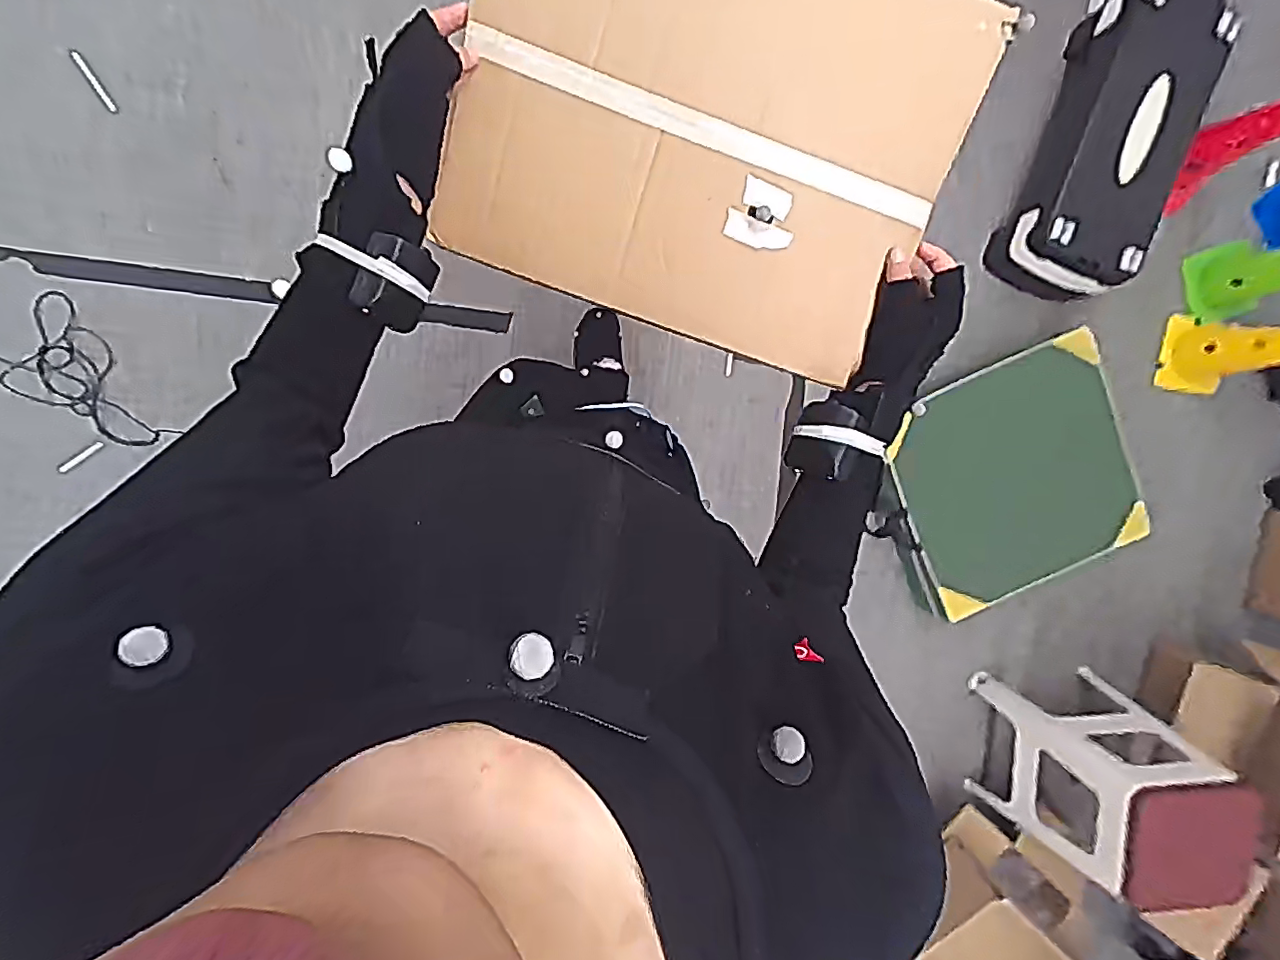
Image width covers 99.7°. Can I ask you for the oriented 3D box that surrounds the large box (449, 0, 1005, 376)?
[{"bbox_3d":[0.059,-0.337,0.600,0.408,0.320,0.320,18,107,-7],"label":"large box"}]
